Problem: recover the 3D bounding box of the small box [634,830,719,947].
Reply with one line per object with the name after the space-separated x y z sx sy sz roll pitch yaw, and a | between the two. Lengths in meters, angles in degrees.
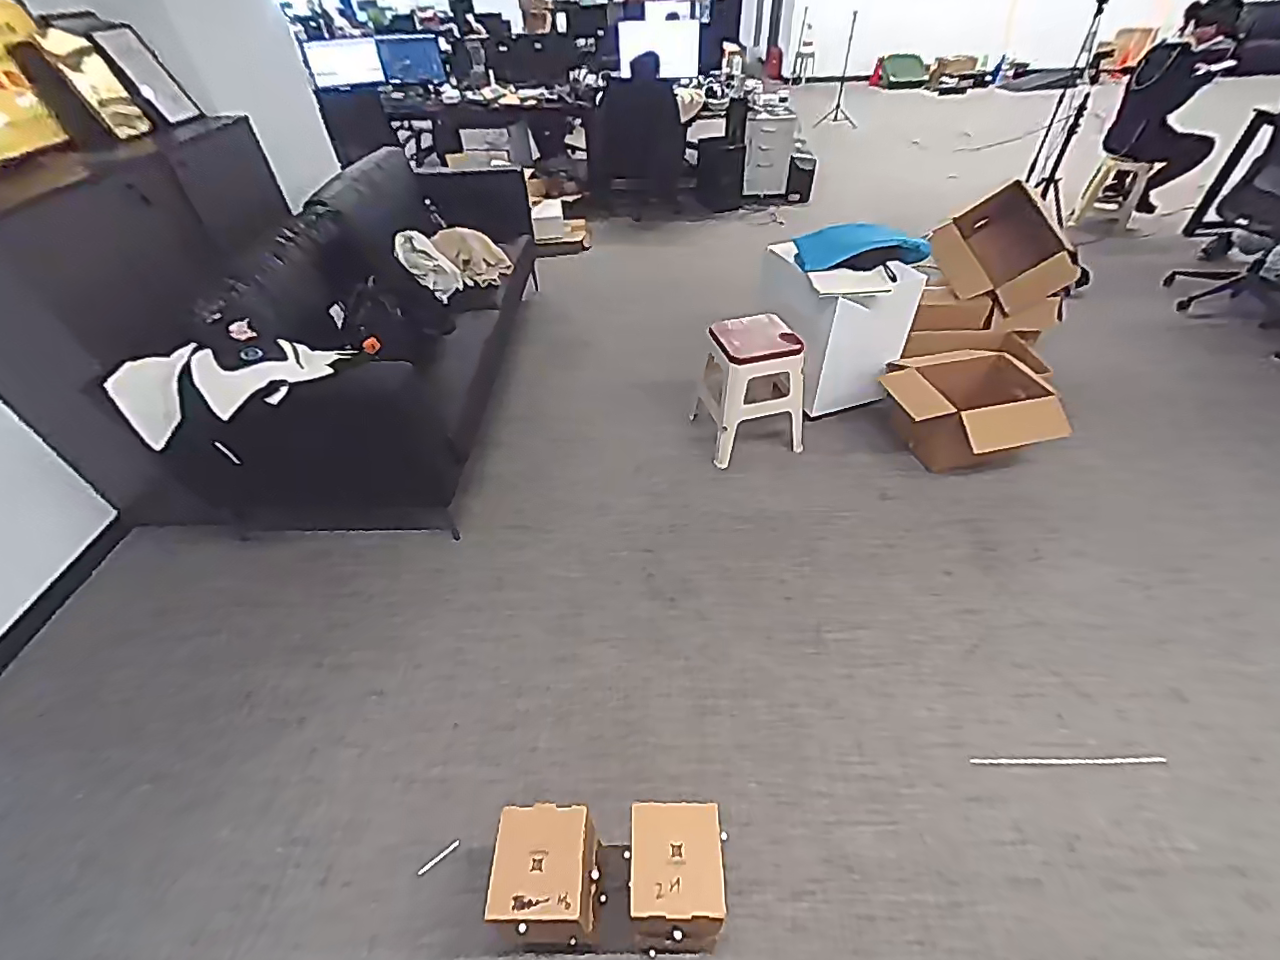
0.074 0.861 1.137 0.168 0.176 0.179 -1 42 1 | small box
